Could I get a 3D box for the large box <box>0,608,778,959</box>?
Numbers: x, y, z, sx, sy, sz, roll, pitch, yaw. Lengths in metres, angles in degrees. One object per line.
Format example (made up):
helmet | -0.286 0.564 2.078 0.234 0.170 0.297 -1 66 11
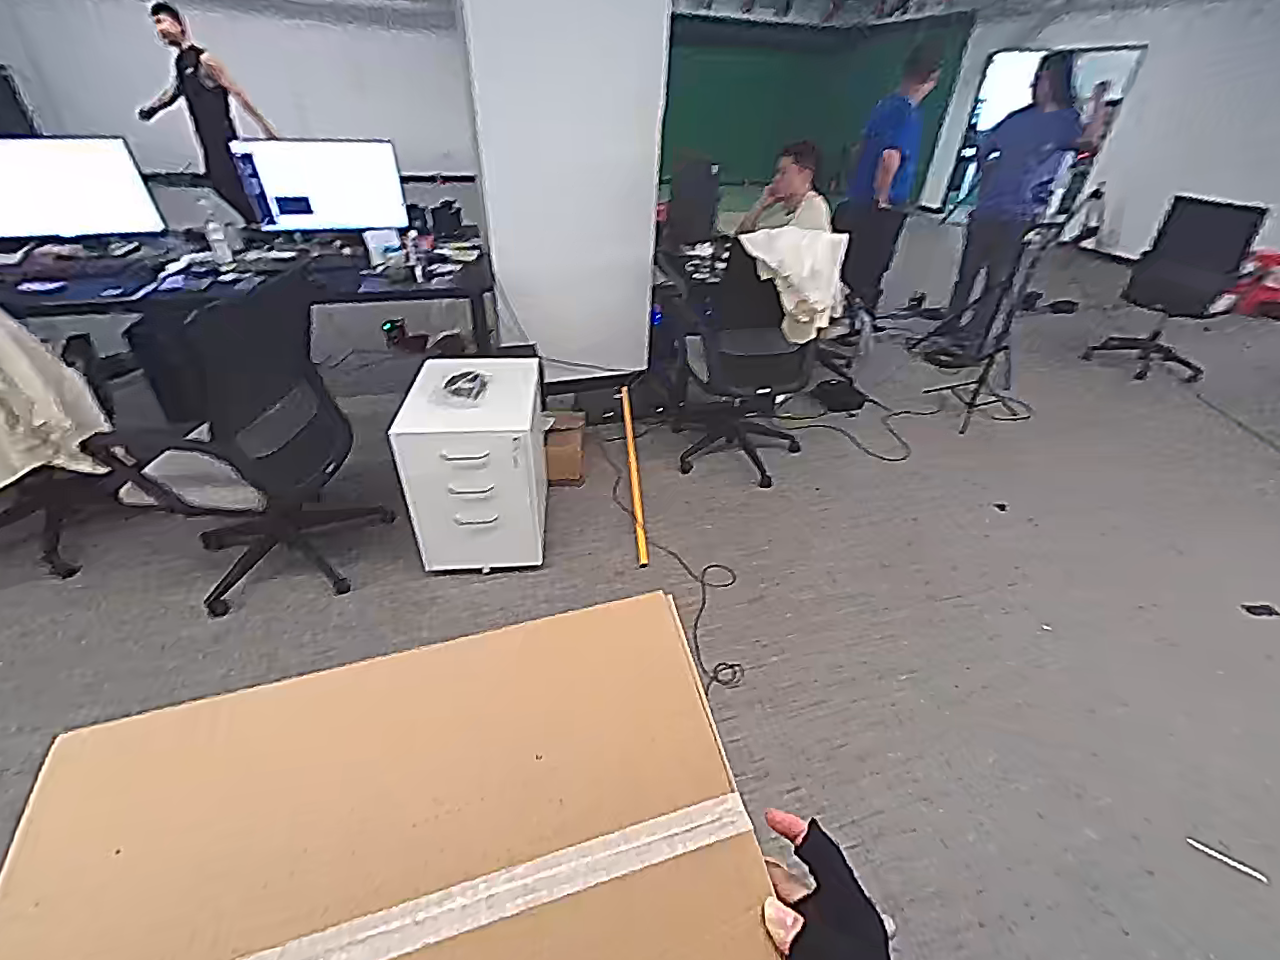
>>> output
large box | -0.138 0.345 0.408 0.408 0.320 0.320 -11 51 -12
